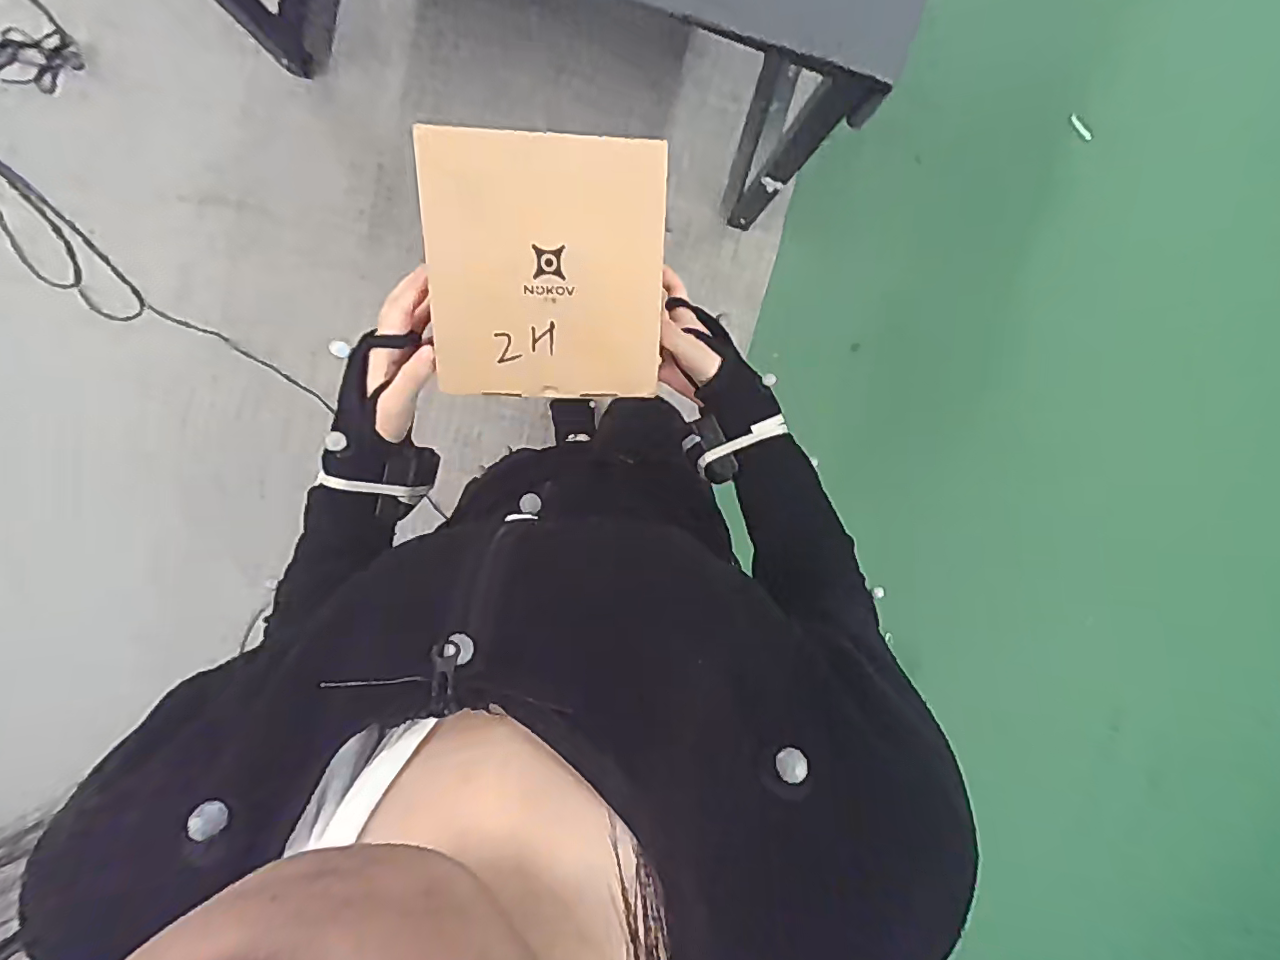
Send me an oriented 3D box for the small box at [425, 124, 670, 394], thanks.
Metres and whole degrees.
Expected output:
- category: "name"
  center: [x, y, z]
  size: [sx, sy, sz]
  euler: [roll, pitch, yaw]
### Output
- category: "small box"
  center: [-0.072, -0.177, 0.463]
  size: [0.168, 0.176, 0.179]
  euler: [0, 111, -6]
